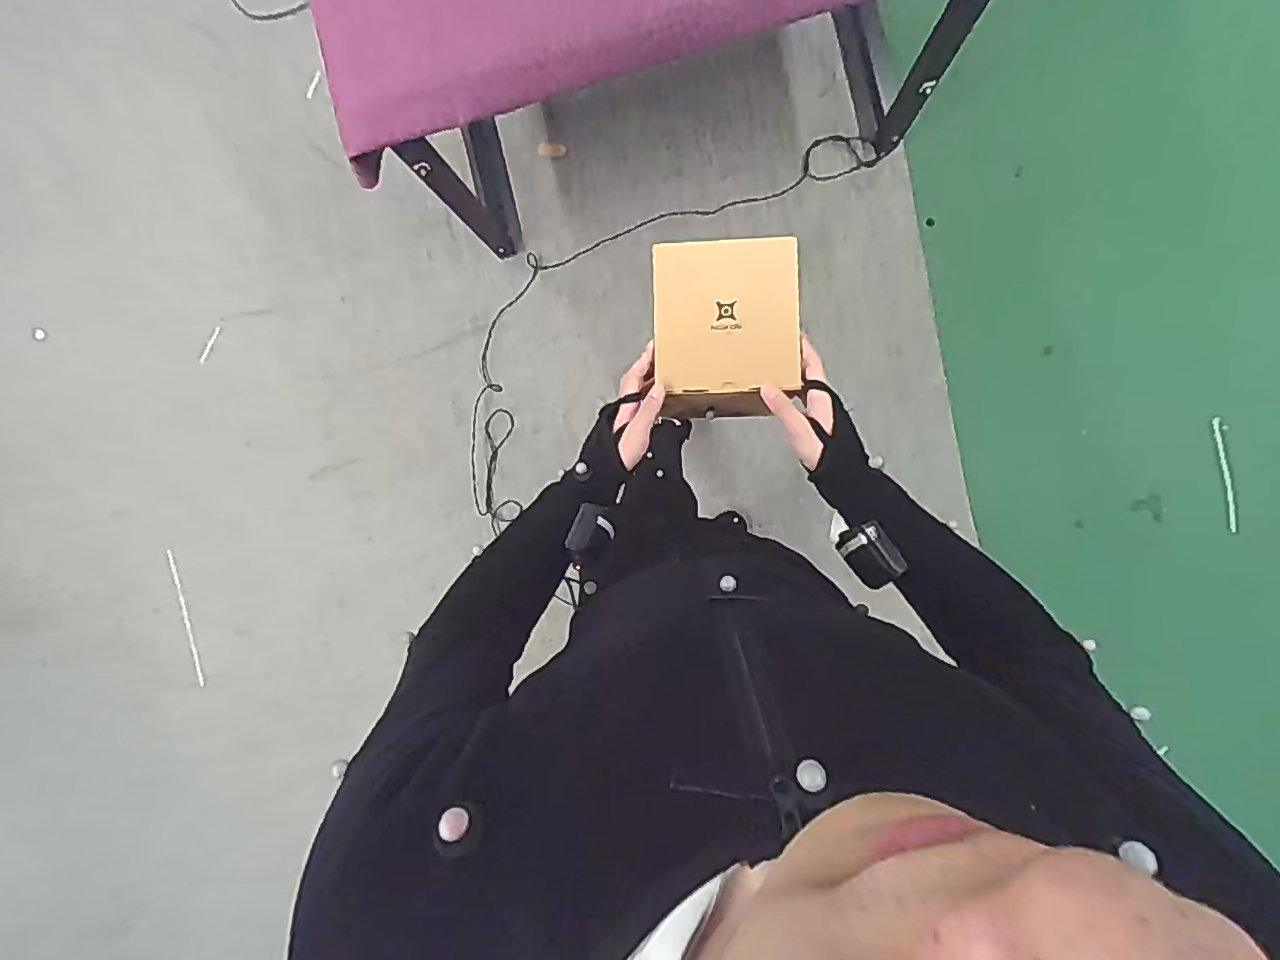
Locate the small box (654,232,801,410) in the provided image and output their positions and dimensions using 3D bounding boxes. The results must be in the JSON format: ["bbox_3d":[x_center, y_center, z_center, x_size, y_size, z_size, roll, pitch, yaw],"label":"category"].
[{"bbox_3d":[0.101,-0.189,0.686,0.168,0.176,0.179,-1,89,3],"label":"small box"}]
